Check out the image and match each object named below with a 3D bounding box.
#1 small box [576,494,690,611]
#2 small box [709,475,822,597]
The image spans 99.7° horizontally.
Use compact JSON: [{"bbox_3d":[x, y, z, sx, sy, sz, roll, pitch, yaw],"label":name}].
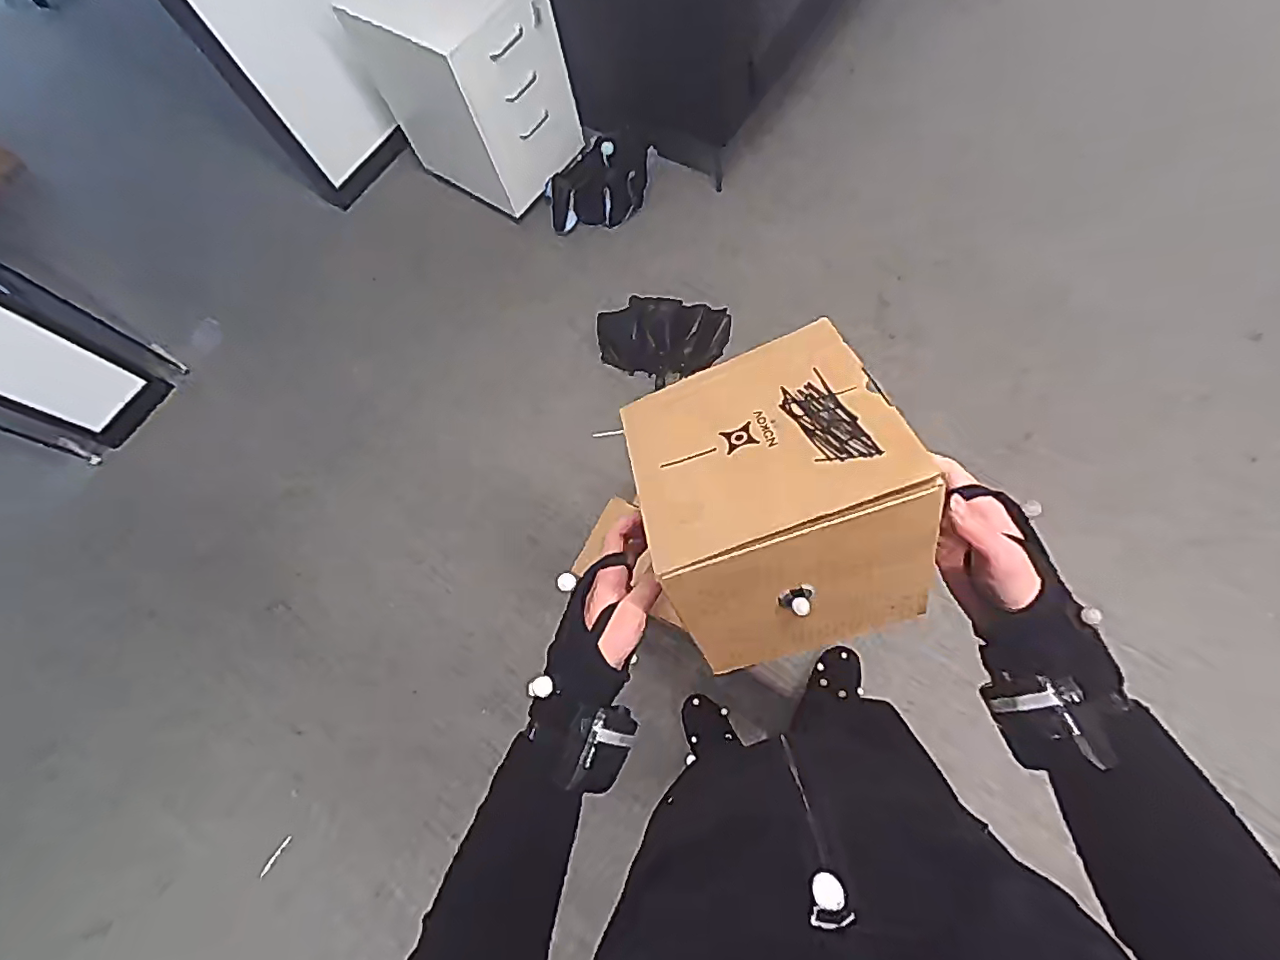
[{"bbox_3d":[-0.004,0.156,1.127,0.168,0.176,0.179,25,80,18],"label":"small box"},{"bbox_3d":[0.251,0.120,1.096,0.168,0.176,0.179,22,75,16],"label":"small box"}]
